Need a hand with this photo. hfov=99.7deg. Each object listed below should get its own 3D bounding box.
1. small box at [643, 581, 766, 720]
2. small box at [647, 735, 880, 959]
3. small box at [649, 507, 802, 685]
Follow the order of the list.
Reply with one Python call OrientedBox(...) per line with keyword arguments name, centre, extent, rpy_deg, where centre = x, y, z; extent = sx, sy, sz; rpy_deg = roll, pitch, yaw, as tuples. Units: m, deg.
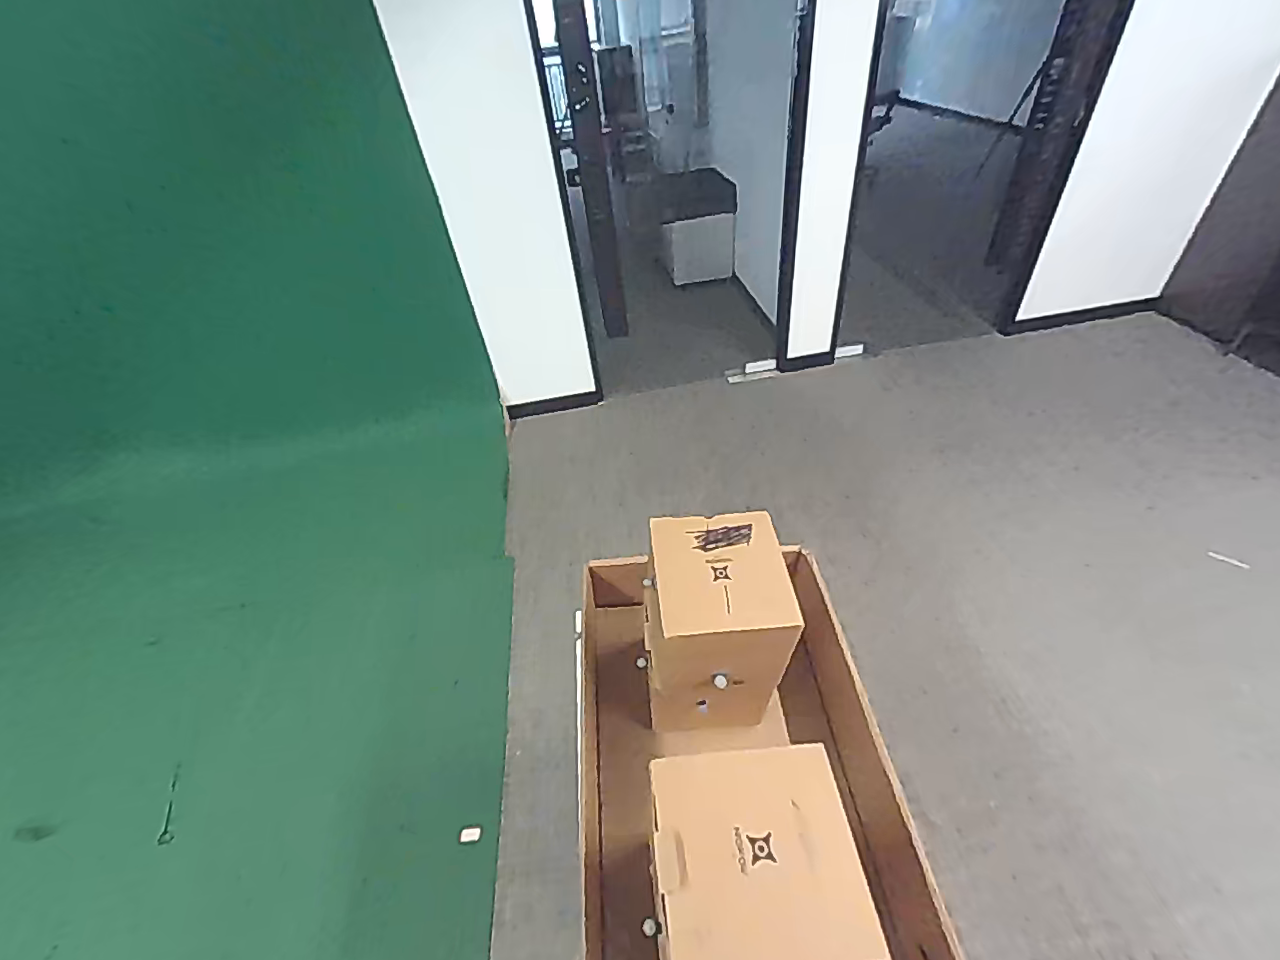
OrientedBox(name="small box", centre=(0.100, 0.268, 0.861), extent=(0.179, 0.176, 0.168), rpy_deg=(-4, 48, -1))
OrientedBox(name="small box", centre=(0.101, 0.375, 0.538), extent=(0.179, 0.176, 0.168), rpy_deg=(-3, 47, -4))
OrientedBox(name="small box", centre=(0.101, 0.158, 0.737), extent=(0.168, 0.176, 0.179), rpy_deg=(-4, 48, -3))
